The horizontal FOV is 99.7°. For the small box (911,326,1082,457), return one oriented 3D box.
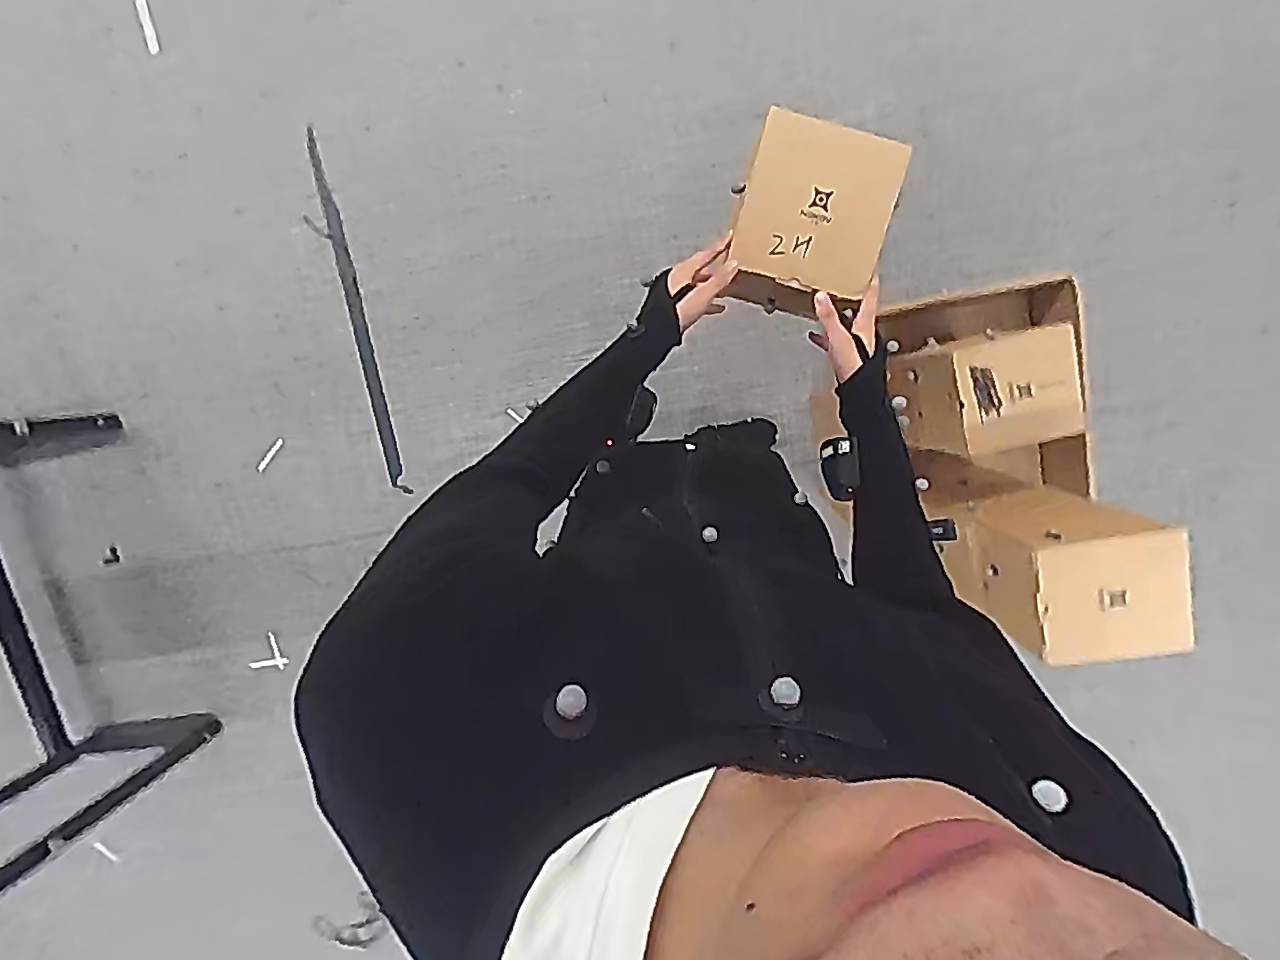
[{"bbox_3d":[0.569,-0.142,0.889,0.179,0.176,0.168,-13,99,6],"label":"small box"}]

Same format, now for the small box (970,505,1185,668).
[{"bbox_3d":[0.606,0.142,0.767,0.179,0.176,0.168,-10,99,9],"label":"small box"}]

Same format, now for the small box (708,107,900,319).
[{"bbox_3d":[0.189,-0.318,0.683,0.168,0.176,0.179,14,100,-1],"label":"small box"}]
